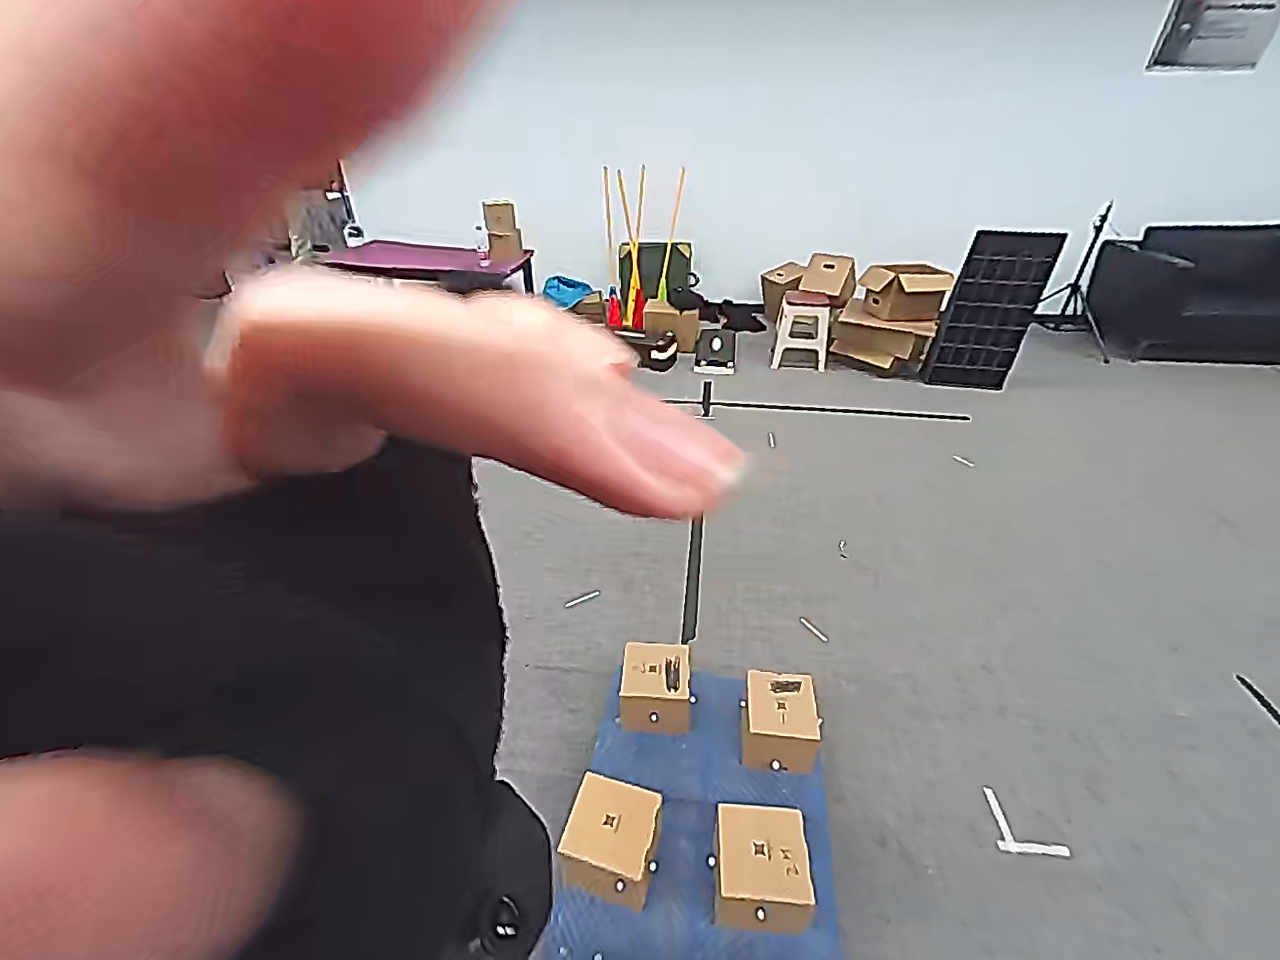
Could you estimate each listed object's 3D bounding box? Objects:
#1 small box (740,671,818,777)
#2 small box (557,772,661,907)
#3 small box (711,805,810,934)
[{"bbox_3d":[0.346,0.621,1.380,0.168,0.176,0.179,4,36,7],"label":"small box"},{"bbox_3d":[-0.063,0.772,1.161,0.179,0.176,0.168,11,35,13],"label":"small box"},{"bbox_3d":[0.238,0.803,1.116,0.179,0.176,0.168,3,35,4],"label":"small box"}]
